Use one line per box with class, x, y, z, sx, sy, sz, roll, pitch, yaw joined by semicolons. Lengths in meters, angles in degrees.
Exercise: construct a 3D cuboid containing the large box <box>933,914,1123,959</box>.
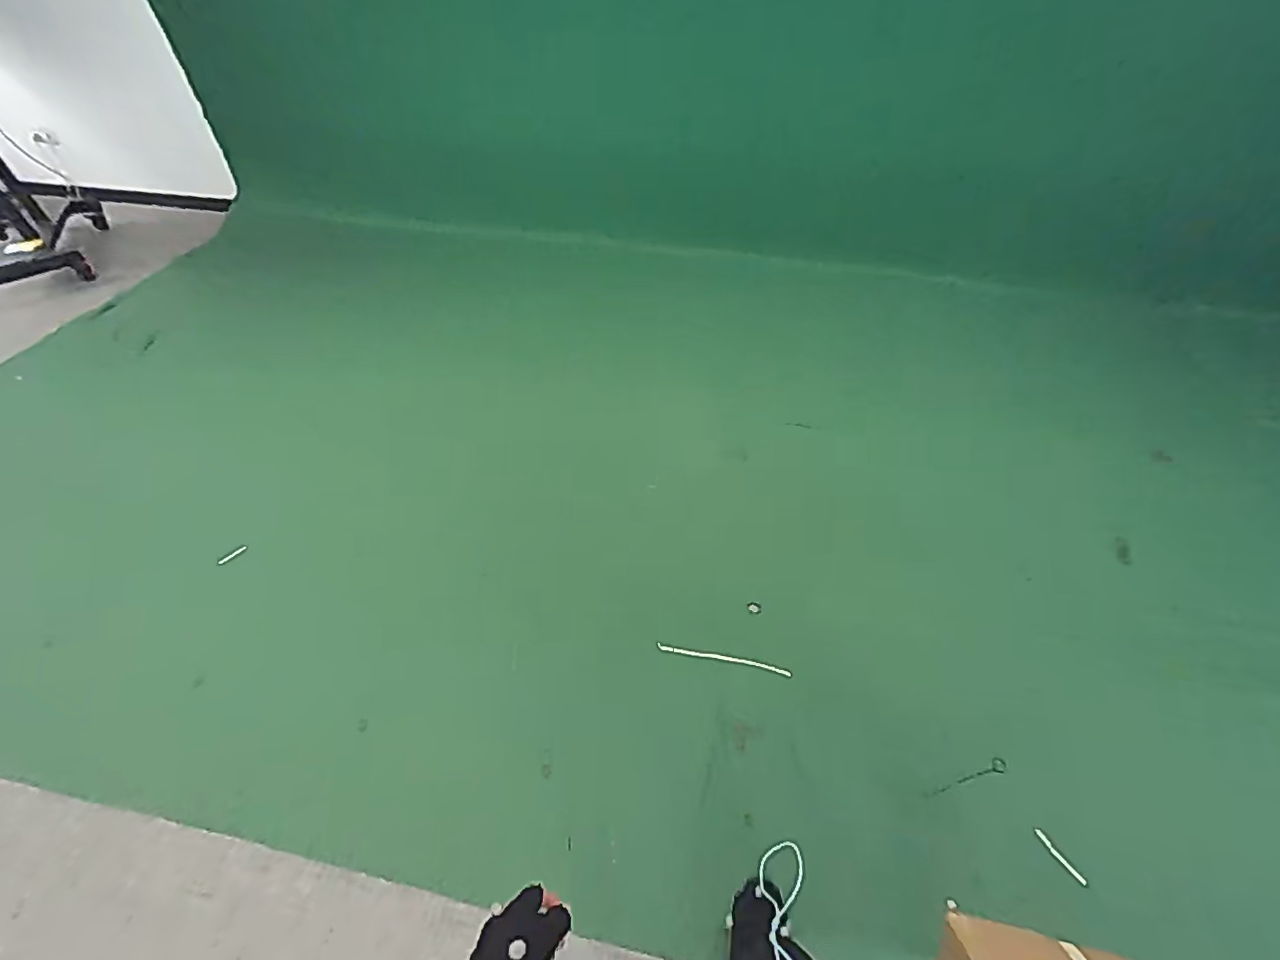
large box;0.530;0.787;0.561;0.320;0.408;0.320;11;87;9
